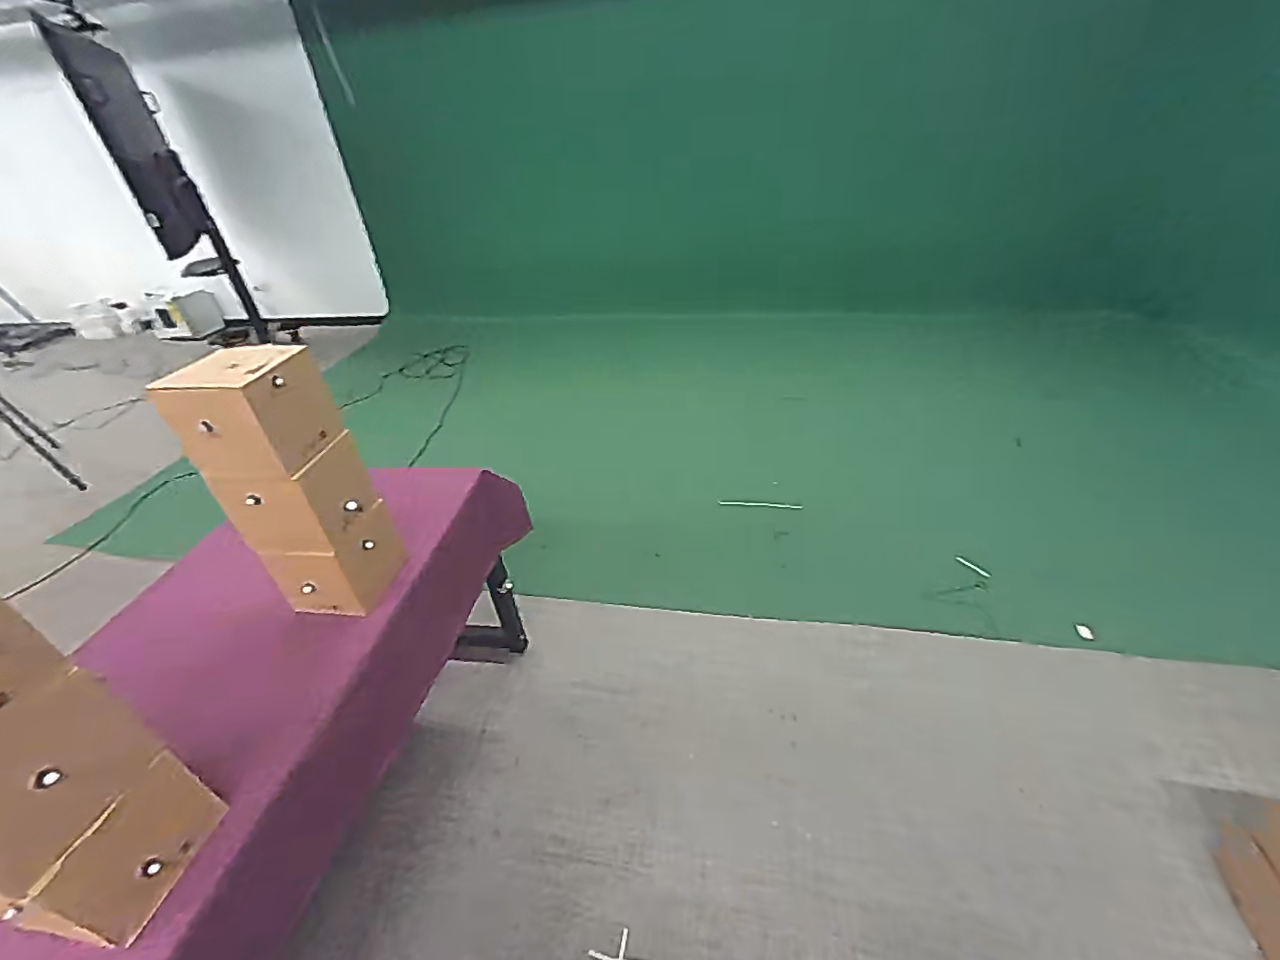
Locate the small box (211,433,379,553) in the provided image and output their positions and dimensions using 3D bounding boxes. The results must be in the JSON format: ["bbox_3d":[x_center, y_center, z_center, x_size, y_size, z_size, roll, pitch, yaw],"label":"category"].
[{"bbox_3d":[-0.636,0.023,1.023,0.179,0.176,0.168,0,36,8],"label":"small box"}]

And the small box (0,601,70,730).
[{"bbox_3d":[-0.733,0.188,0.516,0.179,0.176,0.168,2,35,12],"label":"small box"}]

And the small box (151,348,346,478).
[{"bbox_3d":[-0.657,-0.113,0.933,0.179,0.176,0.168,-1,36,10],"label":"small box"}]

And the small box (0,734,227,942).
[{"bbox_3d":[-0.701,0.459,0.698,0.179,0.176,0.168,2,35,10],"label":"small box"}]

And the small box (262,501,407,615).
[{"bbox_3d":[-0.613,0.158,1.115,0.168,0.176,0.179,2,36,11],"label":"small box"}]
